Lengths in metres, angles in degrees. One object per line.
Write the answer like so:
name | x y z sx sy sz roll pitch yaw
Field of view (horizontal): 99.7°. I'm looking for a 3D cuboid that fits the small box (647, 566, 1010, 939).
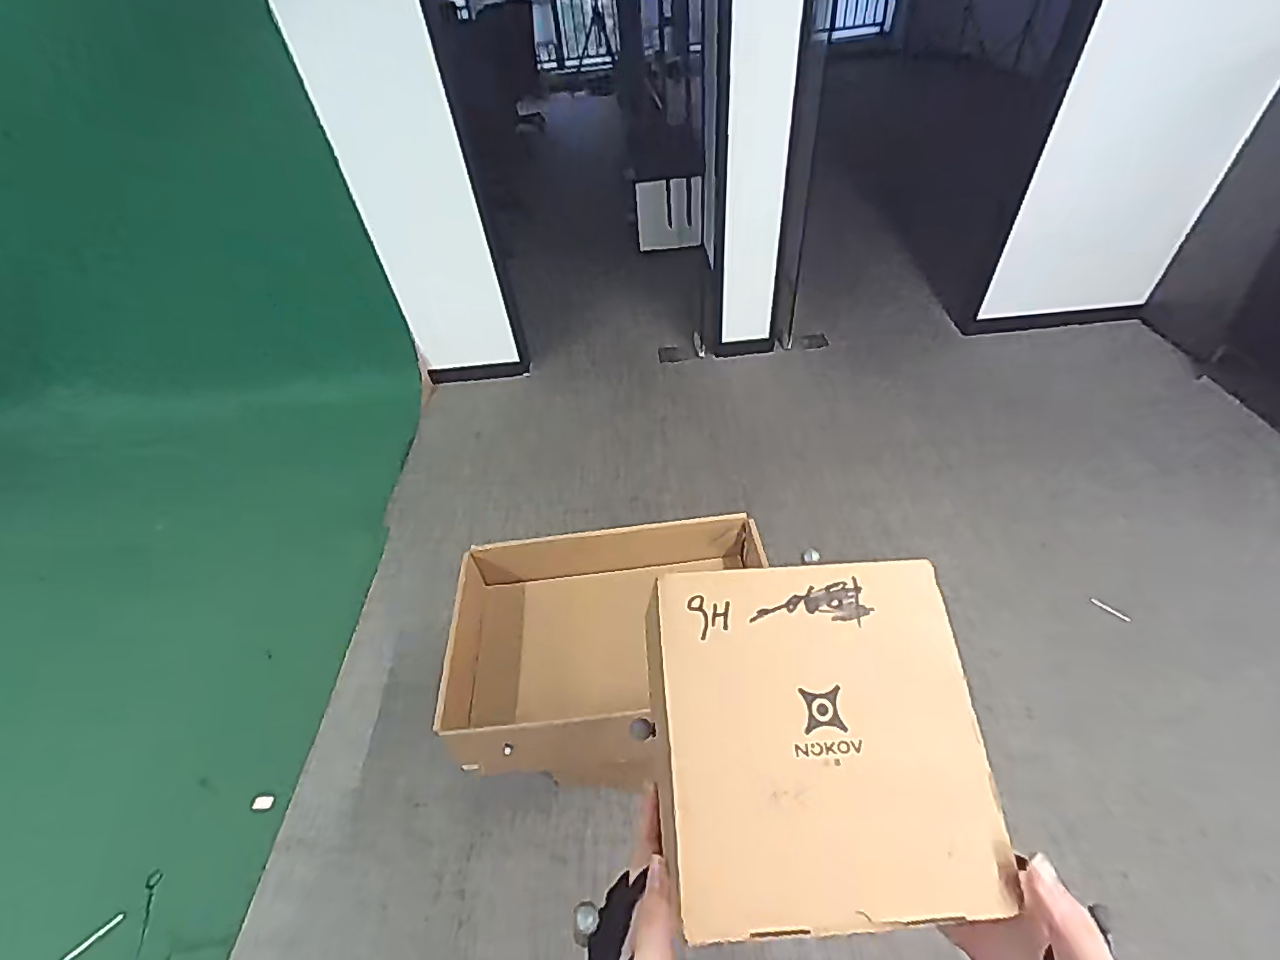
small box | 0.094 0.163 0.365 0.168 0.176 0.179 -2 69 -4
